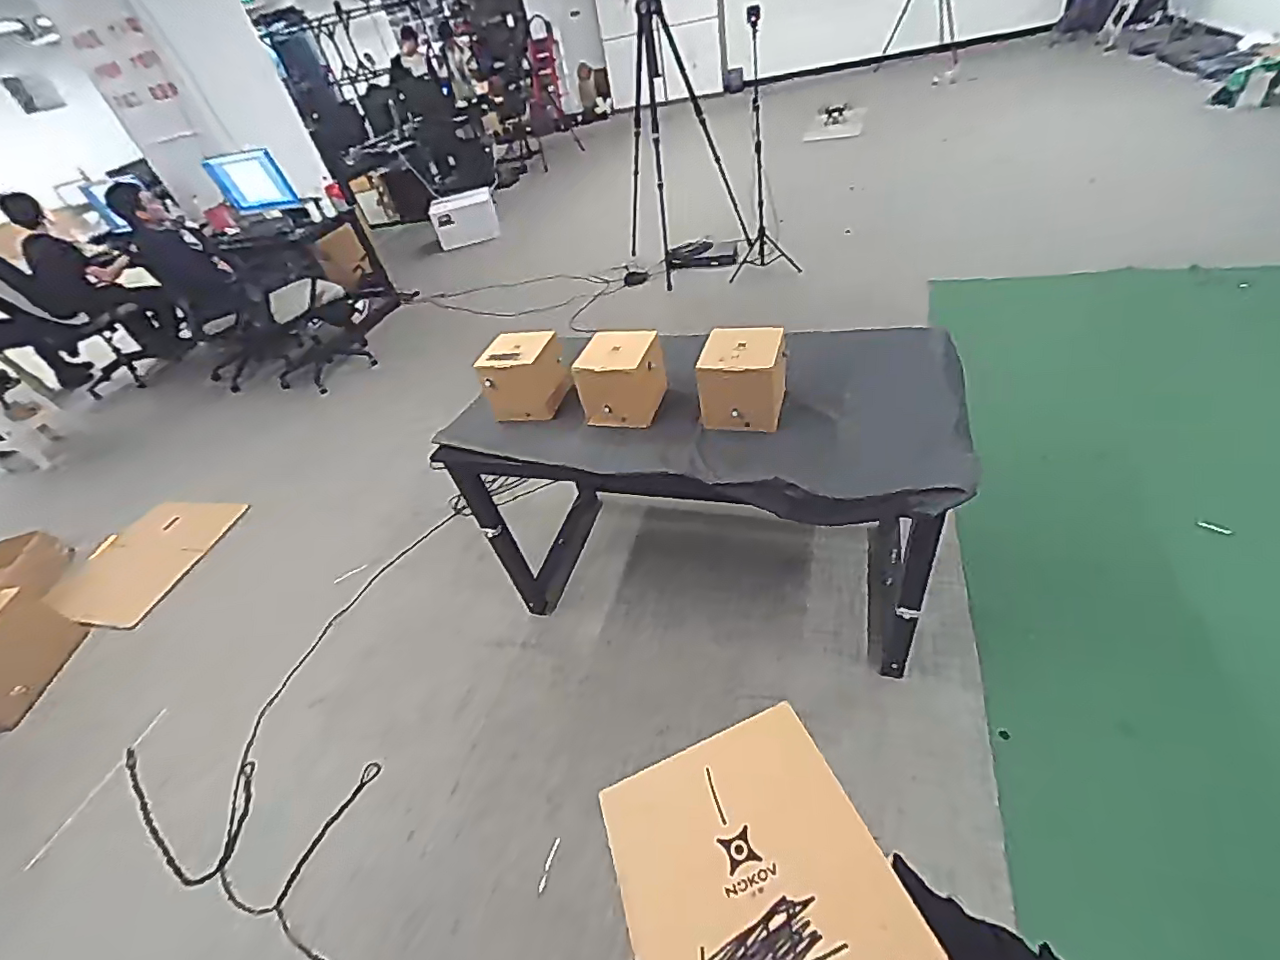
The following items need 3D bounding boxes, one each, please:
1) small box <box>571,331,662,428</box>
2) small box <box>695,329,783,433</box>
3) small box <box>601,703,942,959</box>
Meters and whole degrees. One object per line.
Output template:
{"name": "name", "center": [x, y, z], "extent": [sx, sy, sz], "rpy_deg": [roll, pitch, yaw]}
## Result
{"name": "small box", "center": [-0.048, -0.250, 1.341], "extent": [0.168, 0.176, 0.179], "rpy_deg": [6, 46, 19]}
{"name": "small box", "center": [0.232, -0.229, 1.240], "extent": [0.168, 0.176, 0.179], "rpy_deg": [5, 45, 21]}
{"name": "small box", "center": [0.090, 0.310, 0.394], "extent": [0.168, 0.176, 0.179], "rpy_deg": [-23, 34, -5]}
